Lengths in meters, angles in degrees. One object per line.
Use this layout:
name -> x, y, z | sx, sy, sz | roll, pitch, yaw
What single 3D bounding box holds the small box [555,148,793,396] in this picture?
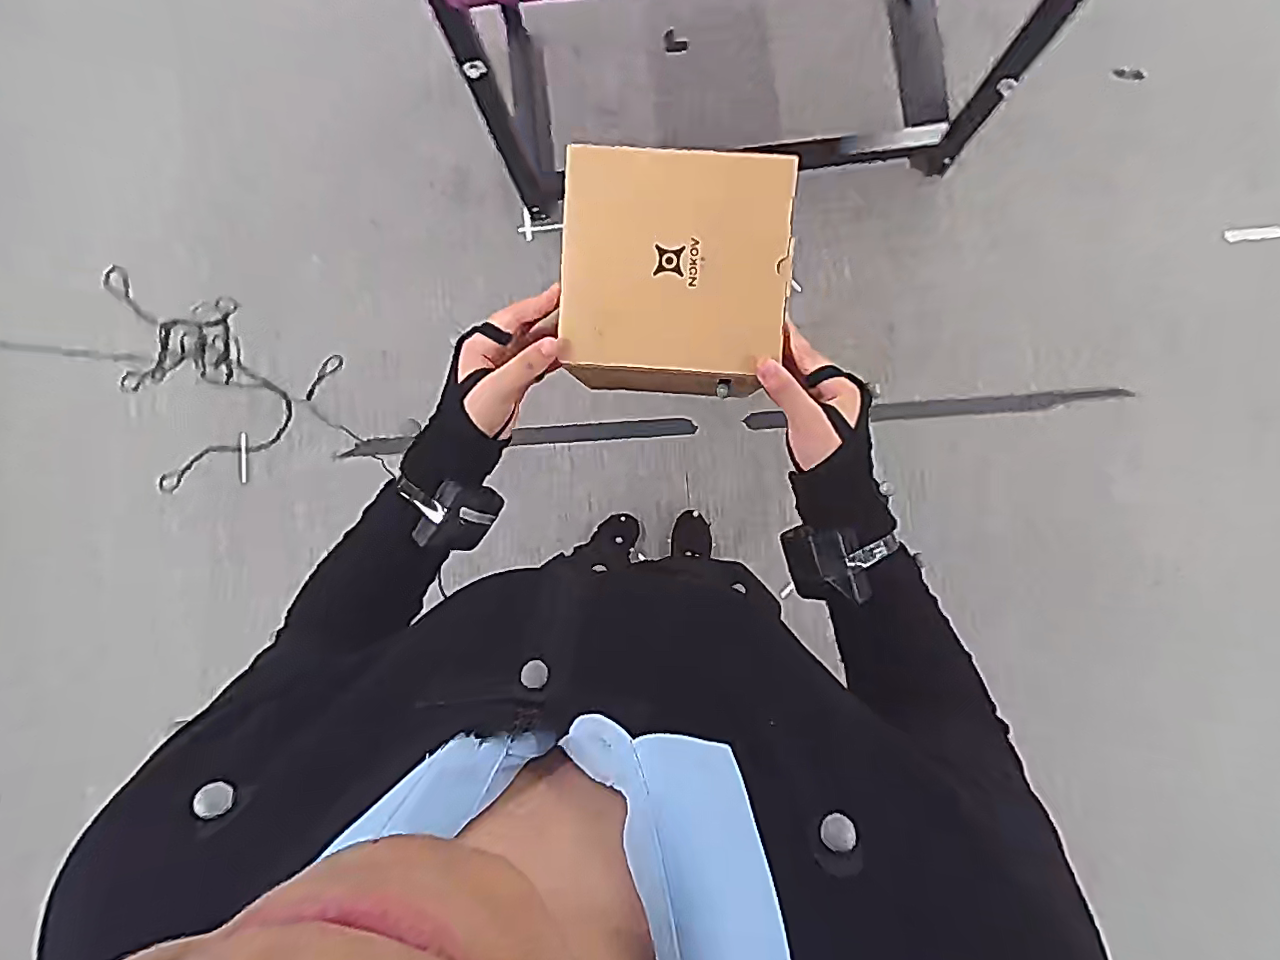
small box -> 0.027, -0.170, 0.494 | 0.179, 0.176, 0.168 | 3, 92, 1
